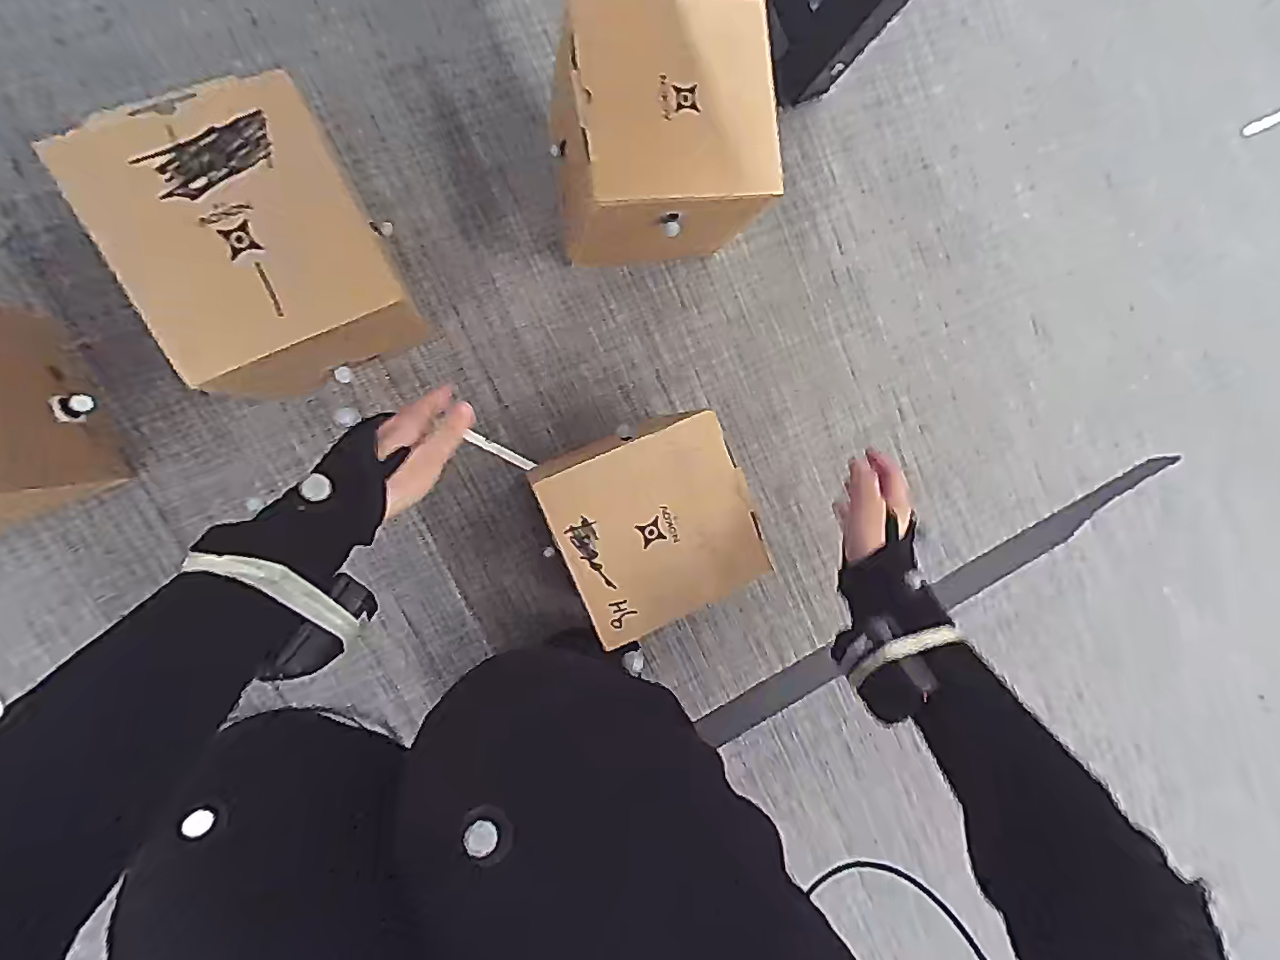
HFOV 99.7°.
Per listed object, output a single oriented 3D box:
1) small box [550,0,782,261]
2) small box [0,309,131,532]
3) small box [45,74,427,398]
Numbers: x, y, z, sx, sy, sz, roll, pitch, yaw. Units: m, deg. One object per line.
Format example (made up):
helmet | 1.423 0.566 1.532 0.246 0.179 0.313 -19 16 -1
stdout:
small box | 0.015 -0.325 0.529 0.179 0.176 0.168 -9 97 -12
small box | -0.566 -0.033 0.410 0.179 0.176 0.168 -24 100 -12
small box | -0.305 -0.183 0.460 0.168 0.176 0.179 -27 101 -10
